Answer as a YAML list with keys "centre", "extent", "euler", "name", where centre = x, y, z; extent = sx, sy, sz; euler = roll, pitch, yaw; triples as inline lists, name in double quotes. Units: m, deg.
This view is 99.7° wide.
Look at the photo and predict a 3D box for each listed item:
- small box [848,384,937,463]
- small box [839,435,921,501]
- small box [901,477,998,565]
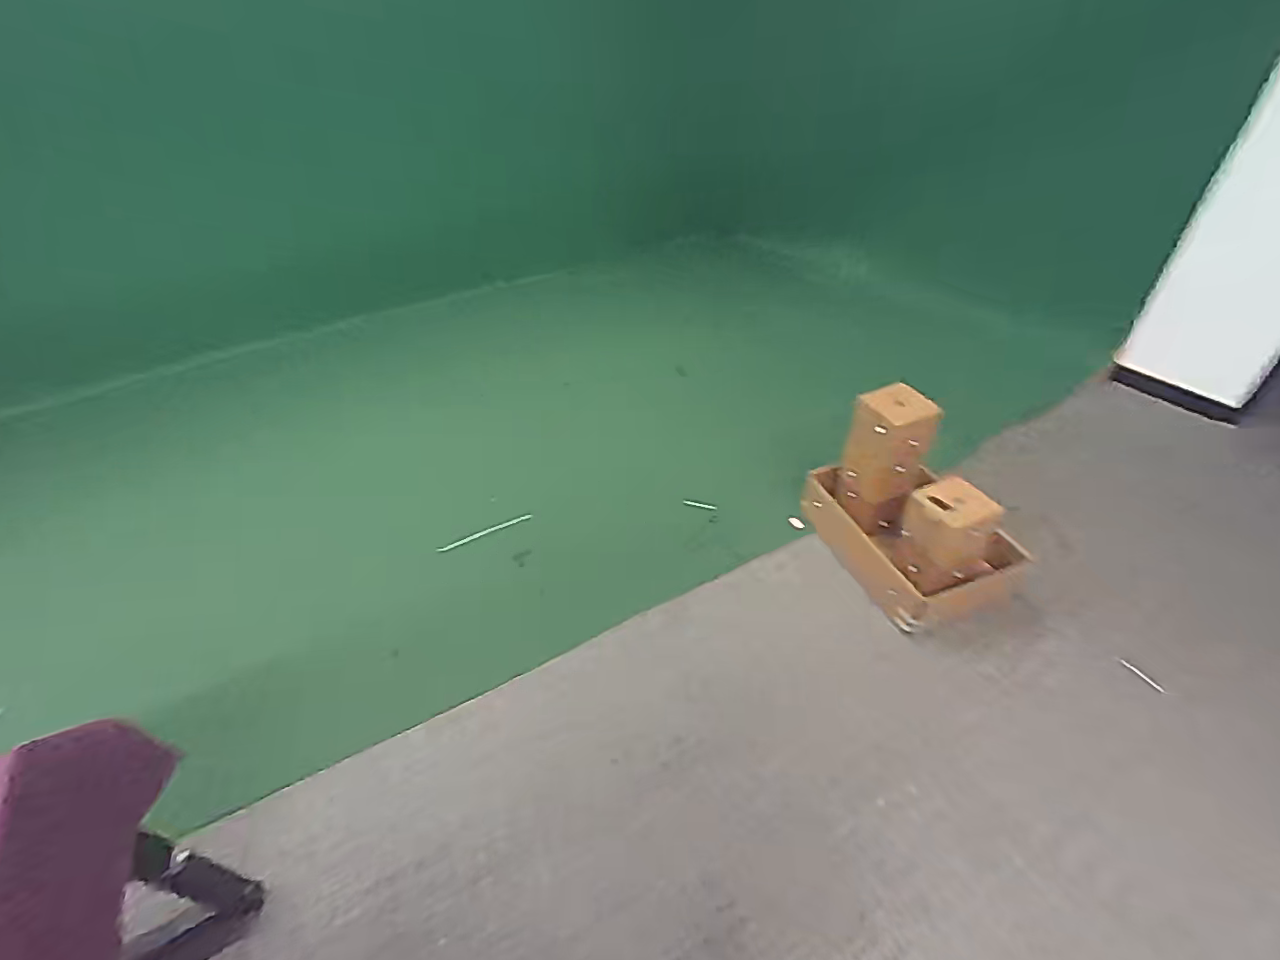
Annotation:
- centre: [0.784, -0.170, 1.694]
  extent: [0.168, 0.176, 0.179]
  euler: [-18, 44, -12]
  name: "small box"
- centre: [0.797, -0.059, 1.816]
  extent: [0.179, 0.176, 0.168]
  euler: [-18, 44, -11]
  name: "small box"
- centre: [0.897, 0.125, 1.592]
  extent: [0.179, 0.176, 0.168]
  euler: [-17, 42, -13]
  name: "small box"
